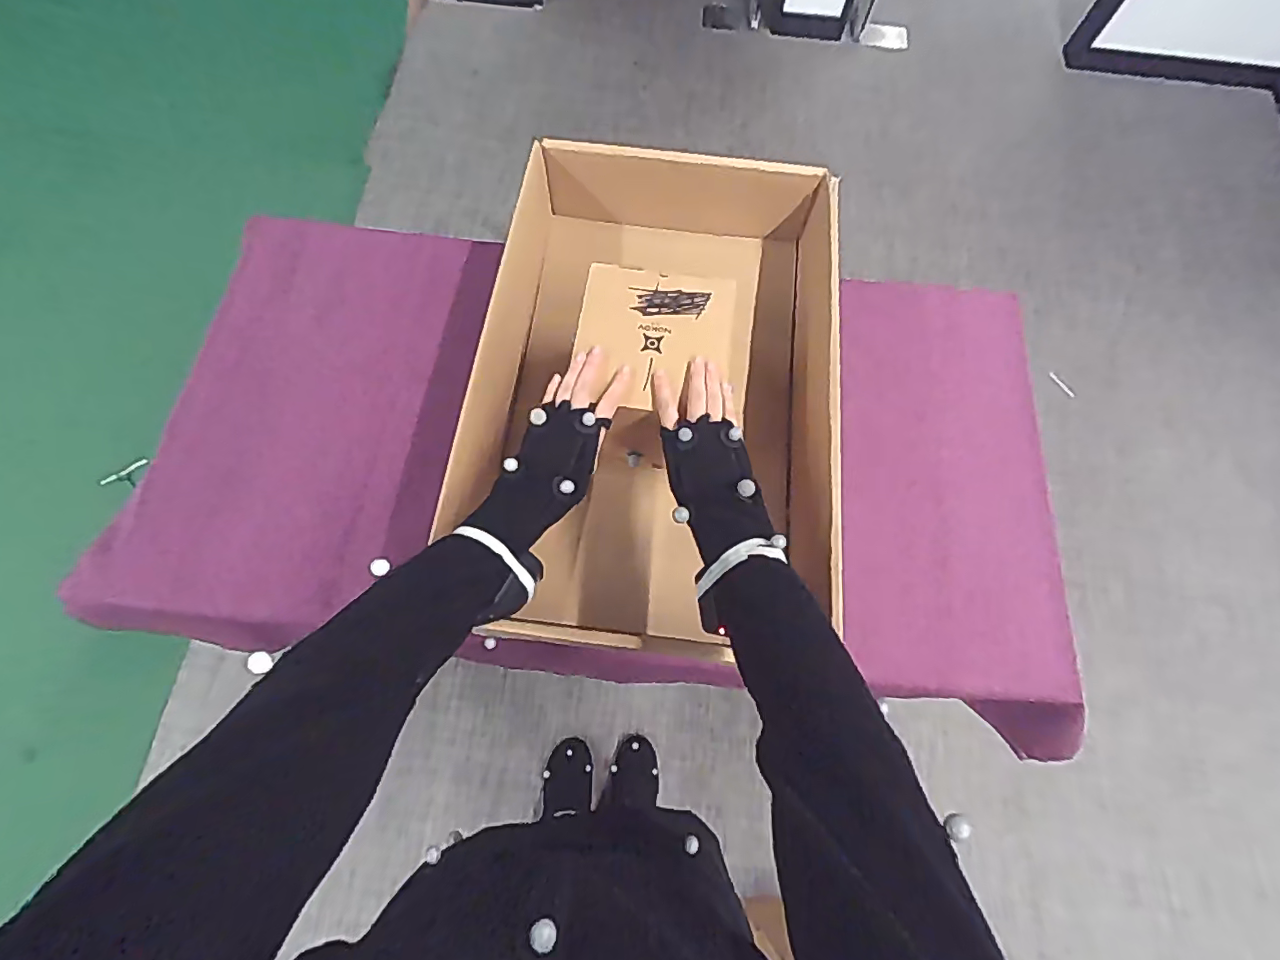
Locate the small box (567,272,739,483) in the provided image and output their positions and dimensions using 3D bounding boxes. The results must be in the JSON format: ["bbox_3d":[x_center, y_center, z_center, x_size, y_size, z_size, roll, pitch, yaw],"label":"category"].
[{"bbox_3d":[0.015,-0.113,0.646,0.168,0.176,0.179,8,70,2],"label":"small box"}]

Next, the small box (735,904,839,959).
[{"bbox_3d":[0.290,0.984,1.088,0.179,0.176,0.168,2,69,-2],"label":"small box"}]
